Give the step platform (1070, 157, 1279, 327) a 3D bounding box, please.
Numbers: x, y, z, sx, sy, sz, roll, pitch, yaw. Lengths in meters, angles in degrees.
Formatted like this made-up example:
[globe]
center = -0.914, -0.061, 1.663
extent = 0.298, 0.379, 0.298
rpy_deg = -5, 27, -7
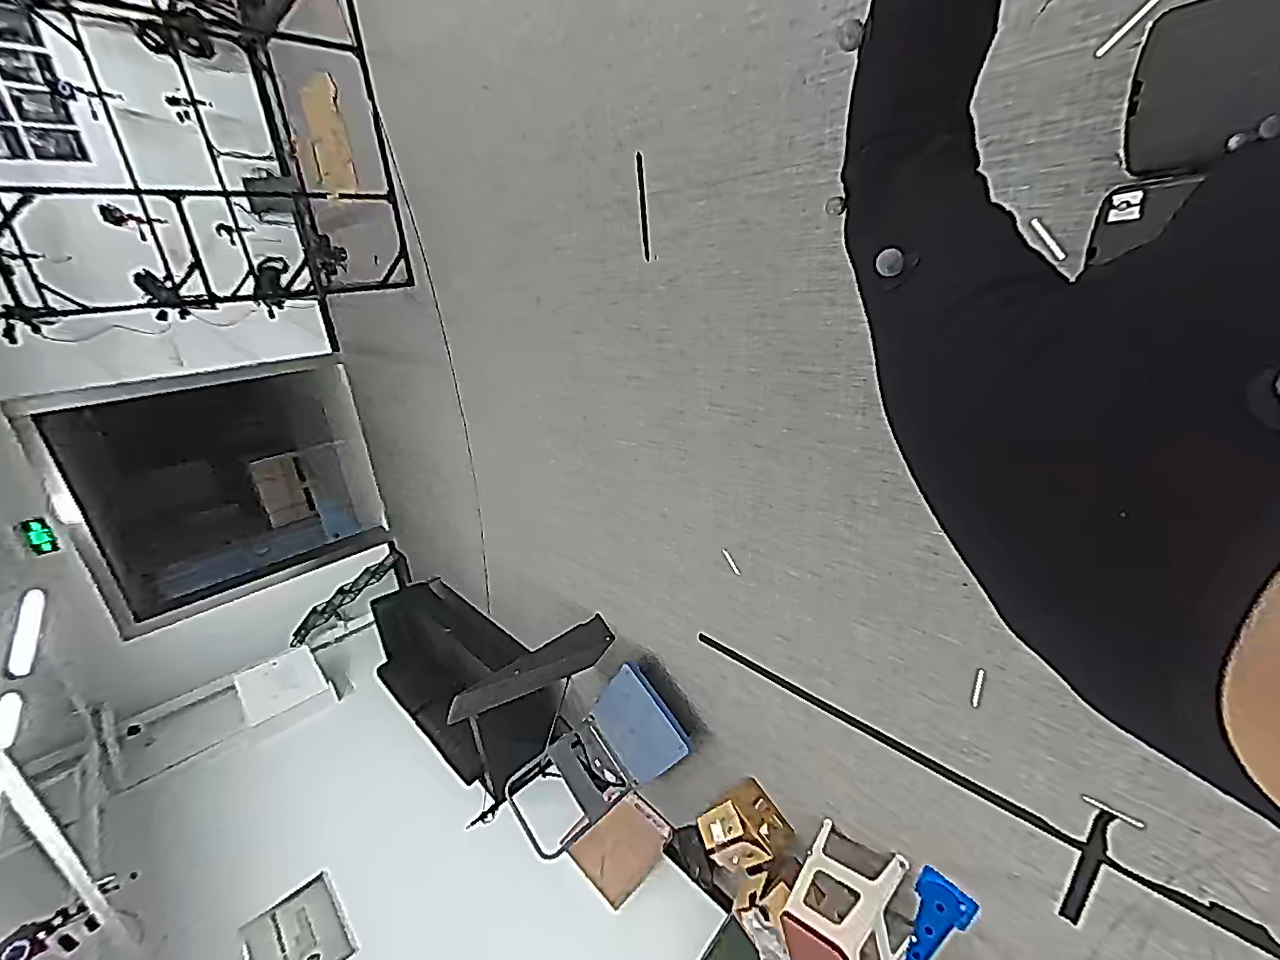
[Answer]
[step platform]
center = 1.204, -0.428, 0.963
extent = 0.684, 0.204, 0.286
rpy_deg = 16, 119, 46
